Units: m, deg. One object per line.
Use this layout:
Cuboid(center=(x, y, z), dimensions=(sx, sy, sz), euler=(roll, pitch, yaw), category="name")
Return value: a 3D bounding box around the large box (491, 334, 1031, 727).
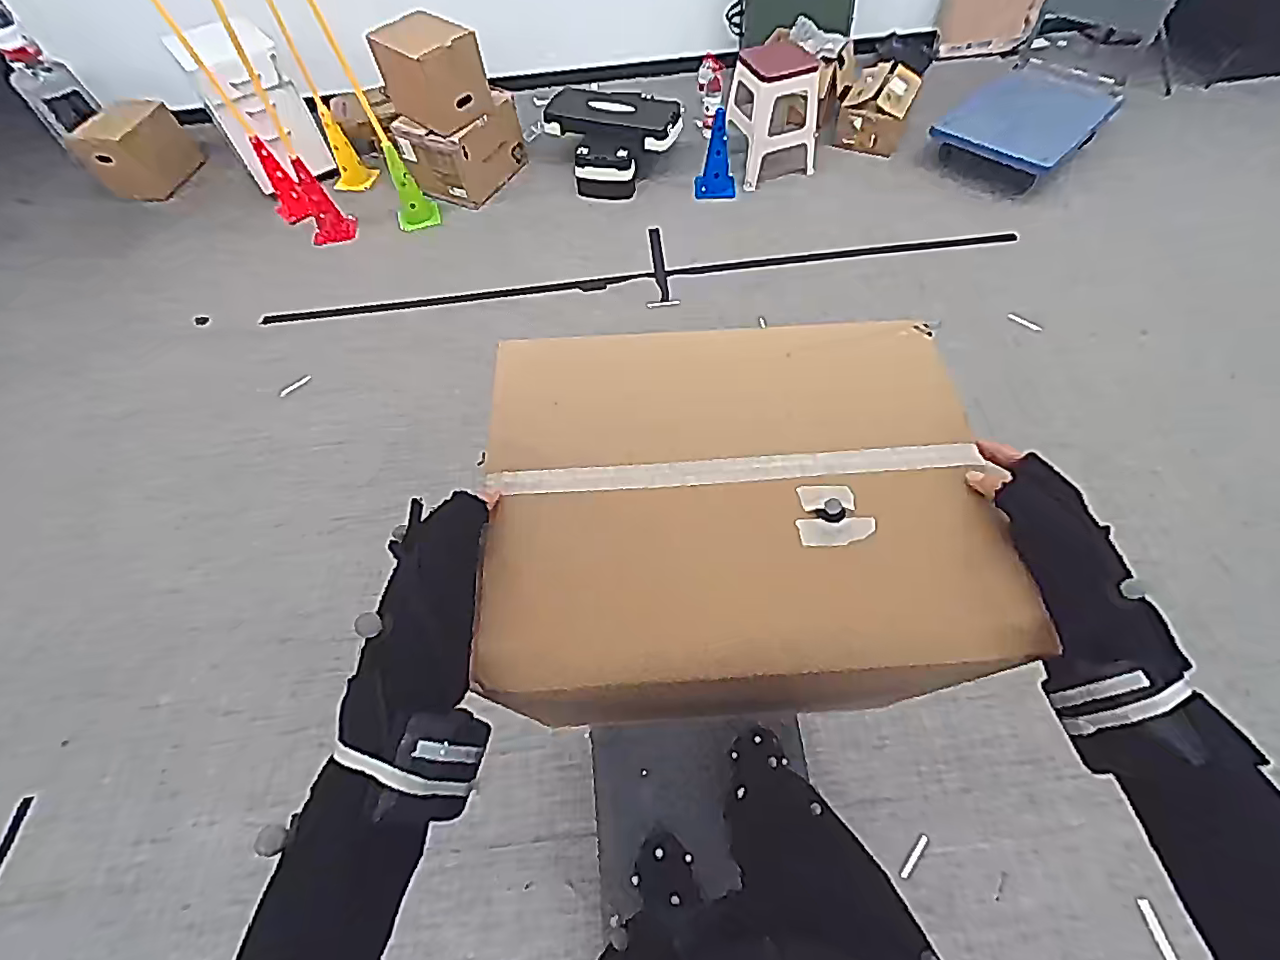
Cuboid(center=(0.079, 0.072, 0.588), dimensions=(0.408, 0.320, 0.320), euler=(-3, 61, -2), category="large box")
